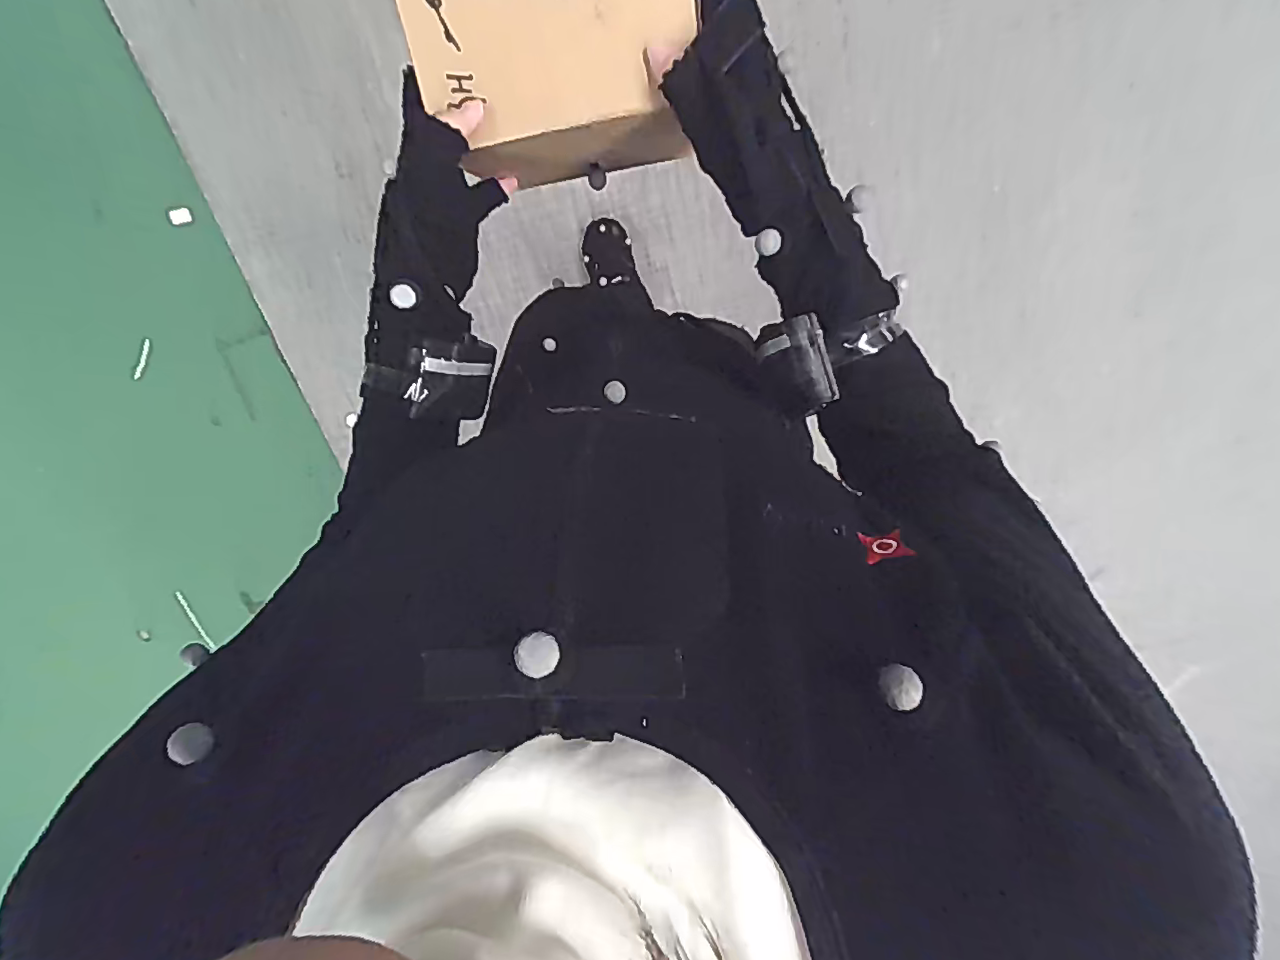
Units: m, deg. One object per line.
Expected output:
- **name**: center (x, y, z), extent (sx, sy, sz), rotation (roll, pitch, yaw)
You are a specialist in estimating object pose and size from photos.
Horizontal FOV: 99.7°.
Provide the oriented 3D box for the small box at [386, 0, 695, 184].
- **small box**: center (-0.061, -0.322, 0.381), extent (0.179, 0.176, 0.168), rotation (-7, 110, 6)
